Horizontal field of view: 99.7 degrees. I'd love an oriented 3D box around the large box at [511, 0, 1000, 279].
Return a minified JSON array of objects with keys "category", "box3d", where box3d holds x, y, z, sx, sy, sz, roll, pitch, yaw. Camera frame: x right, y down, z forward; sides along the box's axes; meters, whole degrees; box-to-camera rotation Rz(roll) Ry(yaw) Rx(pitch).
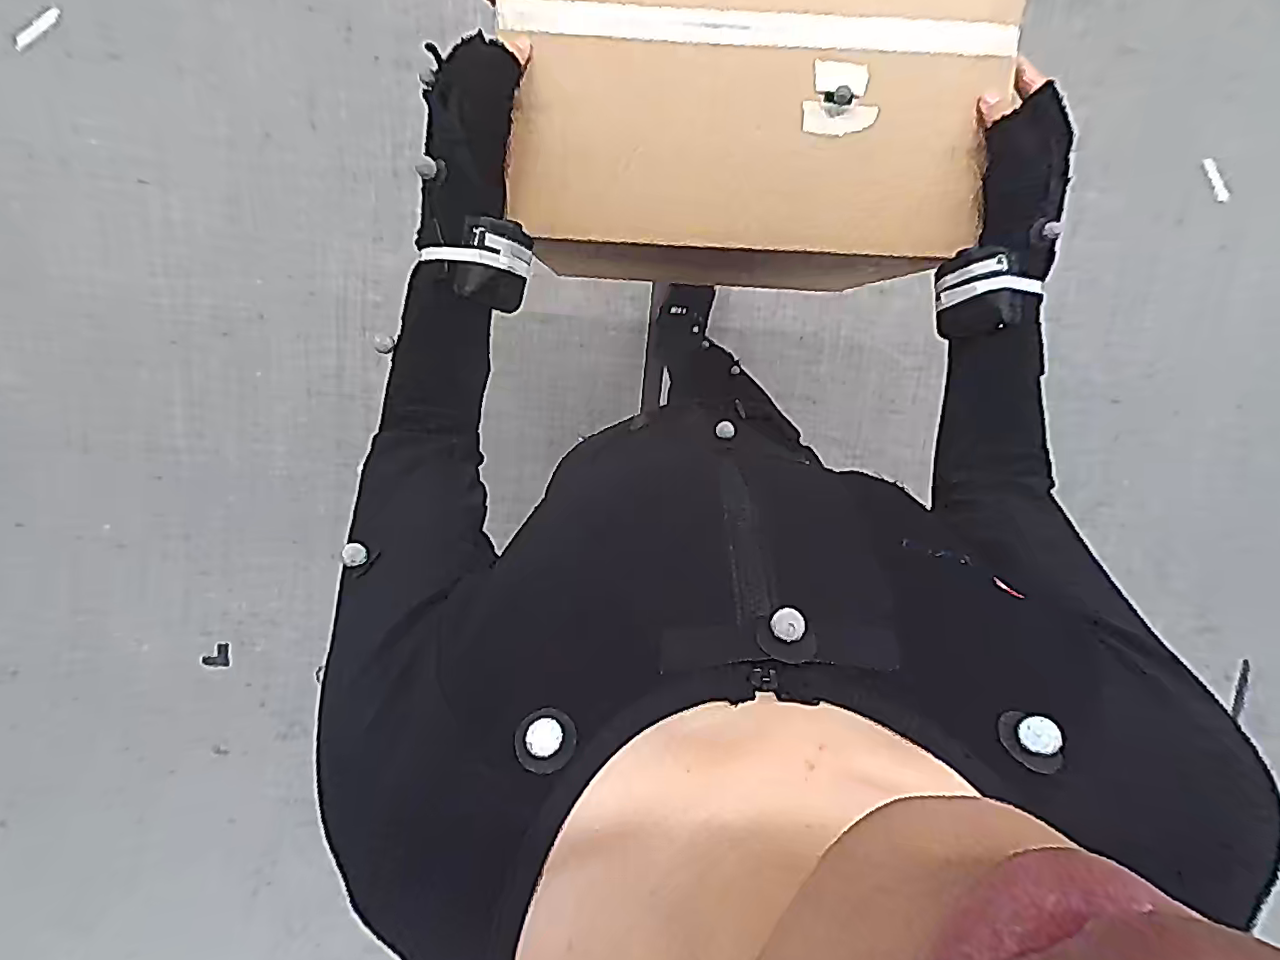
[{"category":"large box","box3d":[0.088,-0.400,0.585,0.408,0.320,0.320,2,105,-2]}]
